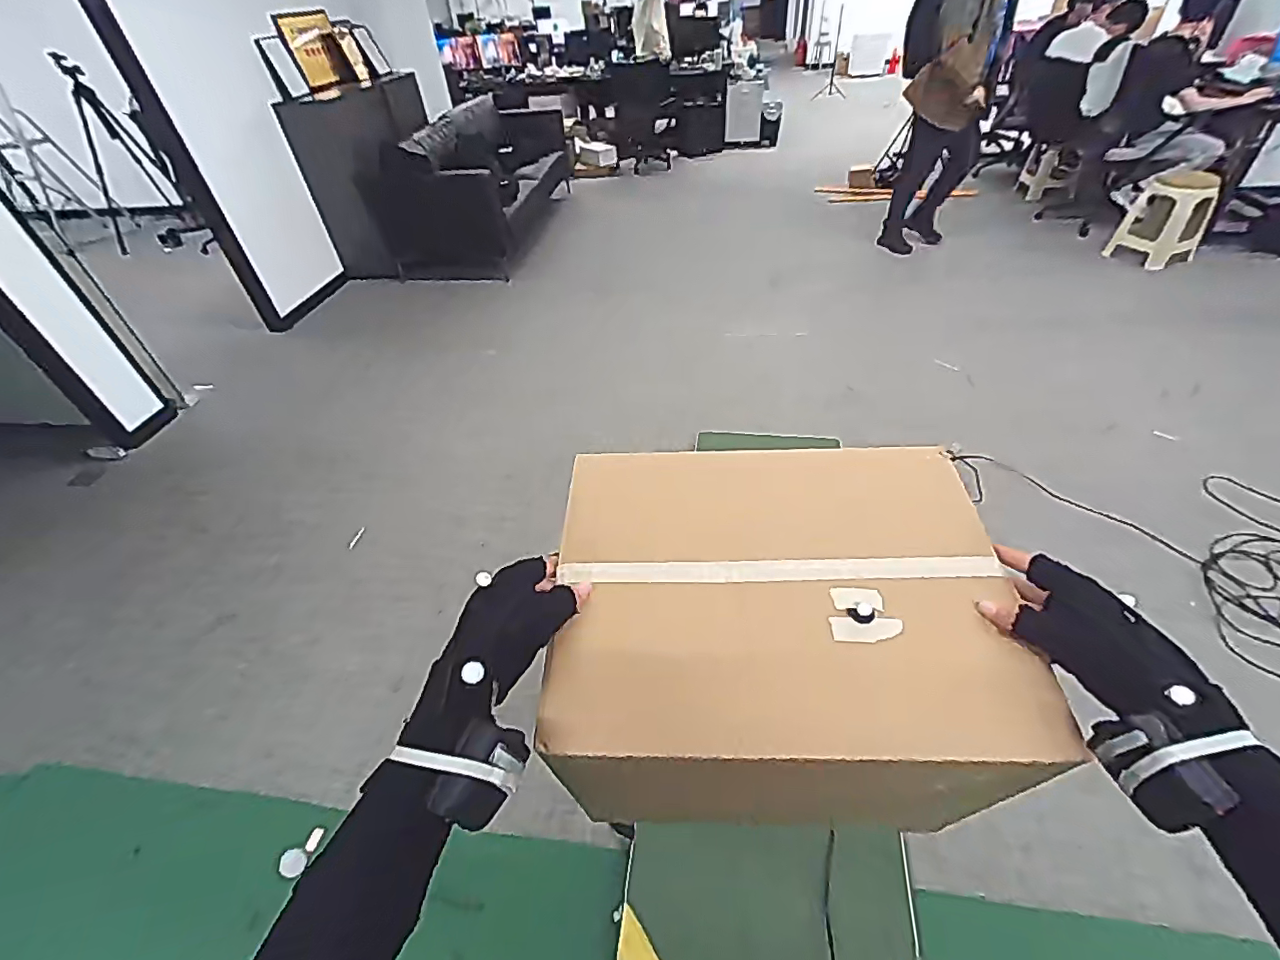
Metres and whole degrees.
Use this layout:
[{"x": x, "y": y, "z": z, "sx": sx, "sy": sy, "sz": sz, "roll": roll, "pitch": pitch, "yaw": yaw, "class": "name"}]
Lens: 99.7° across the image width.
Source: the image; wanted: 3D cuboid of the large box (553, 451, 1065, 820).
[{"x": 0.134, "y": 0.186, "z": 0.625, "sx": 0.408, "sy": 0.320, "sz": 0.320, "roll": -1, "pitch": 50, "yaw": 3, "class": "large box"}]
